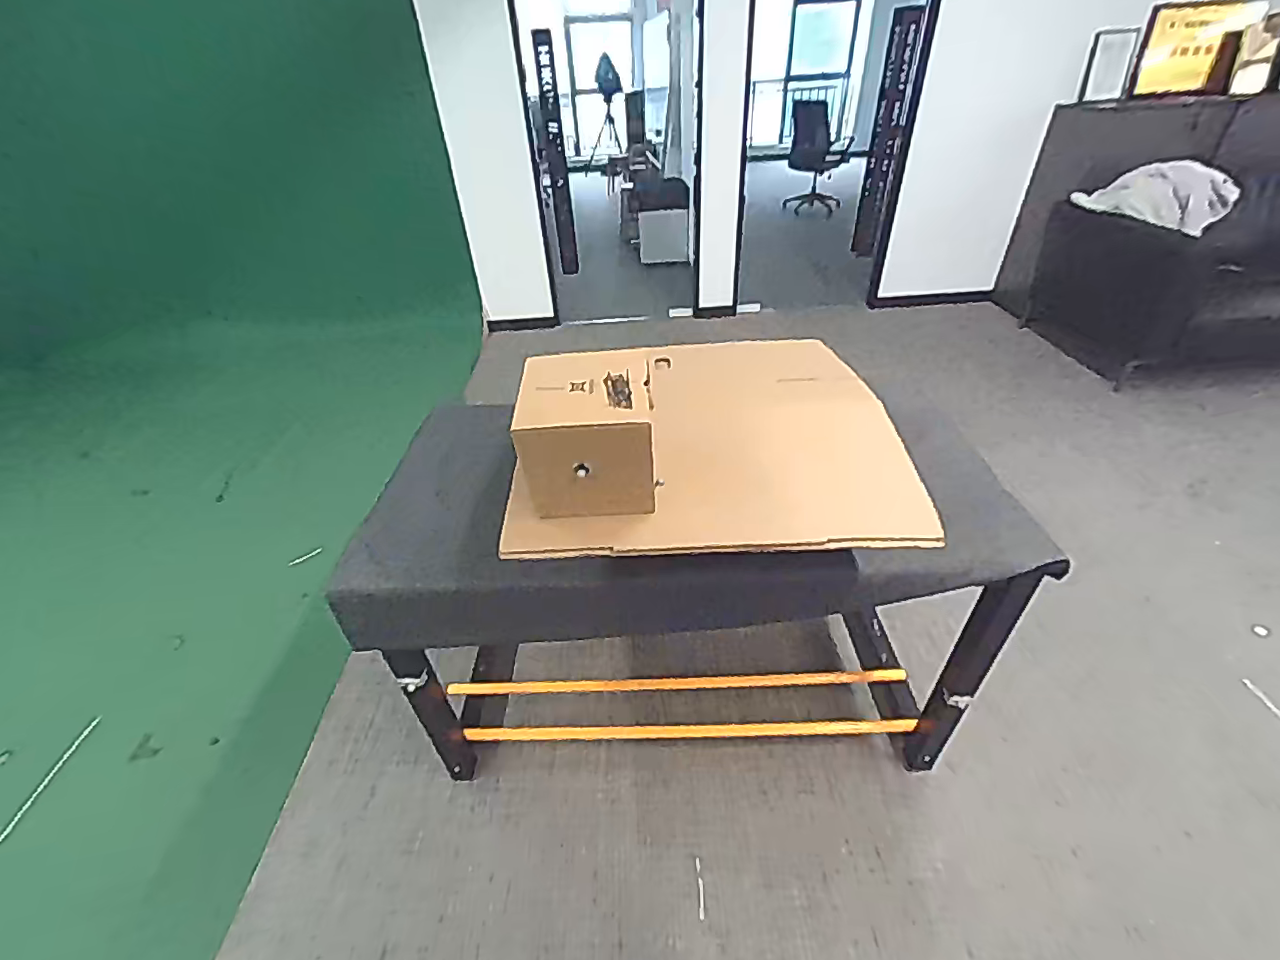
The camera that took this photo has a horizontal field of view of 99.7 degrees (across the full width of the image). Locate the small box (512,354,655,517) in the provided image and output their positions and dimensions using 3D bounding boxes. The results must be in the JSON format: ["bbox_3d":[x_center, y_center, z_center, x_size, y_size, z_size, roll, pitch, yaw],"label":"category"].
[{"bbox_3d":[-0.068,-0.061,0.777,0.179,0.176,0.168,-4,45,2],"label":"small box"}]
